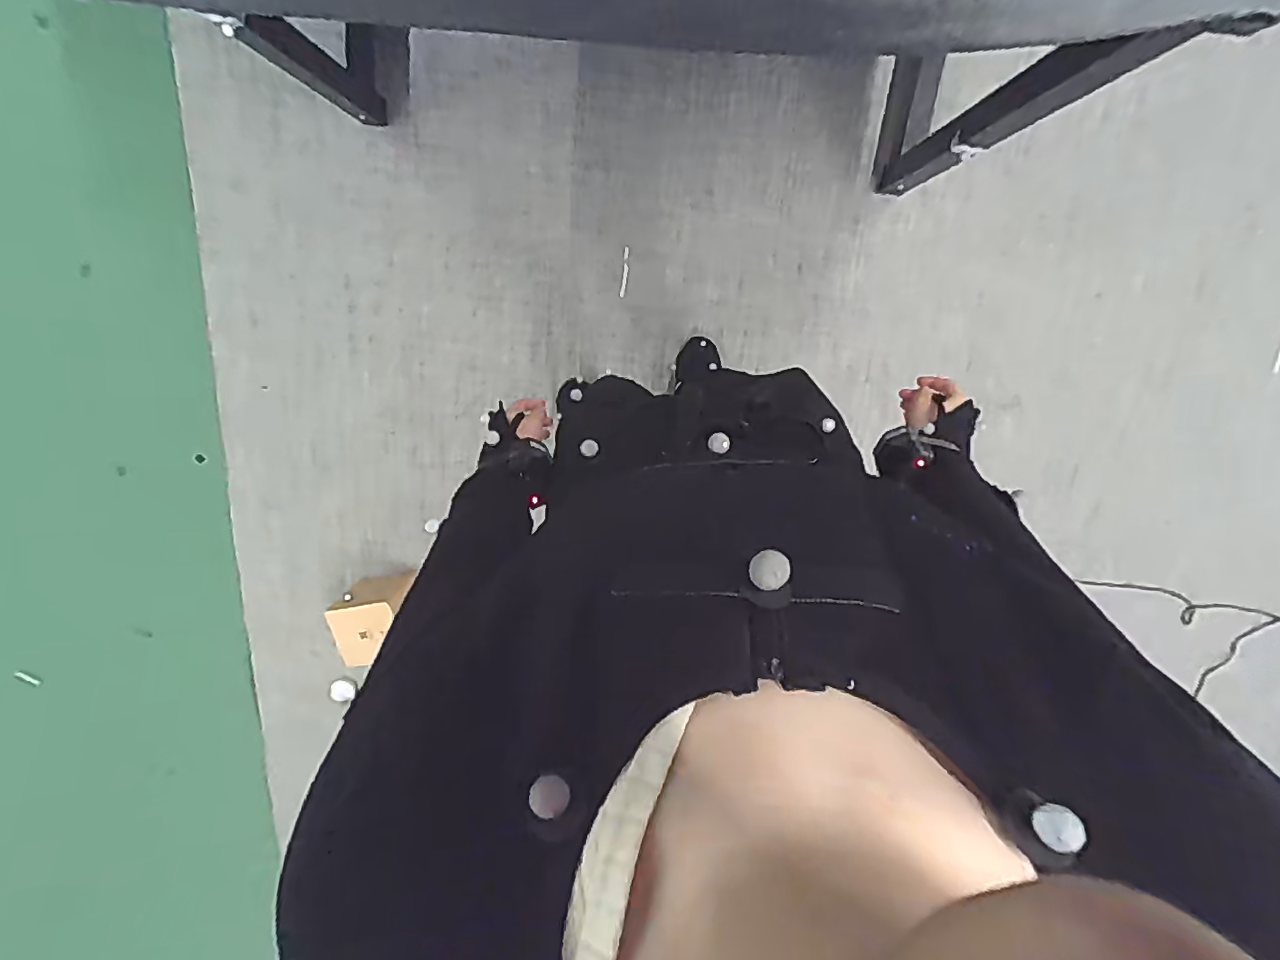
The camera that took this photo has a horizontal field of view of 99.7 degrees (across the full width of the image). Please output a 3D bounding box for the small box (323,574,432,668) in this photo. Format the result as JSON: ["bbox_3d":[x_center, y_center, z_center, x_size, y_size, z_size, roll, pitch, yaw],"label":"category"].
[{"bbox_3d":[-0.678,0.363,1.416,0.179,0.176,0.168,-11,106,5],"label":"small box"}]
